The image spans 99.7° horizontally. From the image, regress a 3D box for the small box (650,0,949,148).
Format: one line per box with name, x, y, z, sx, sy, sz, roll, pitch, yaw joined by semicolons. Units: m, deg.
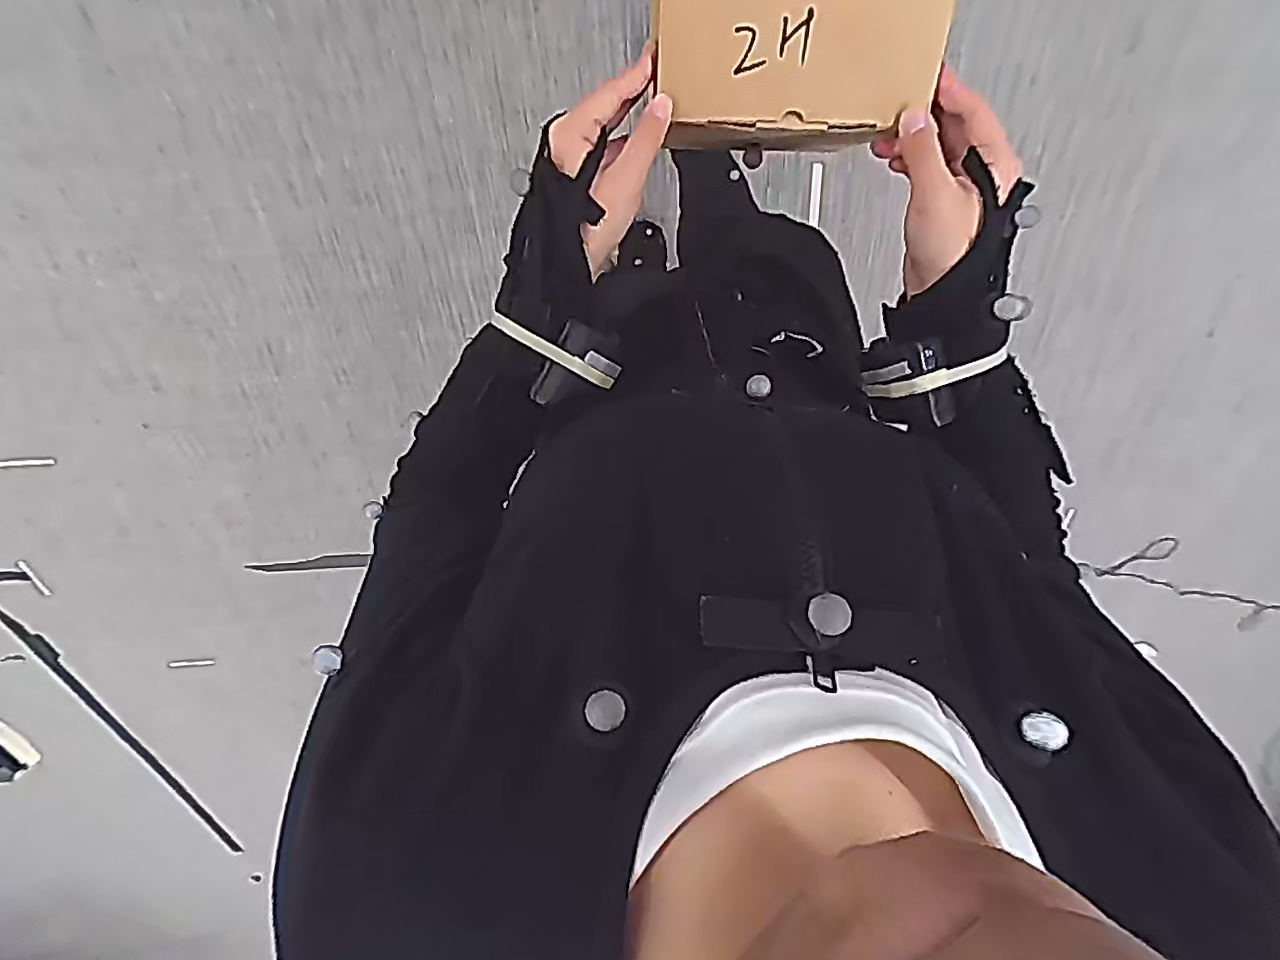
small box;0.094;-0.335;0.363;0.168;0.176;0.179;1;118;-1
